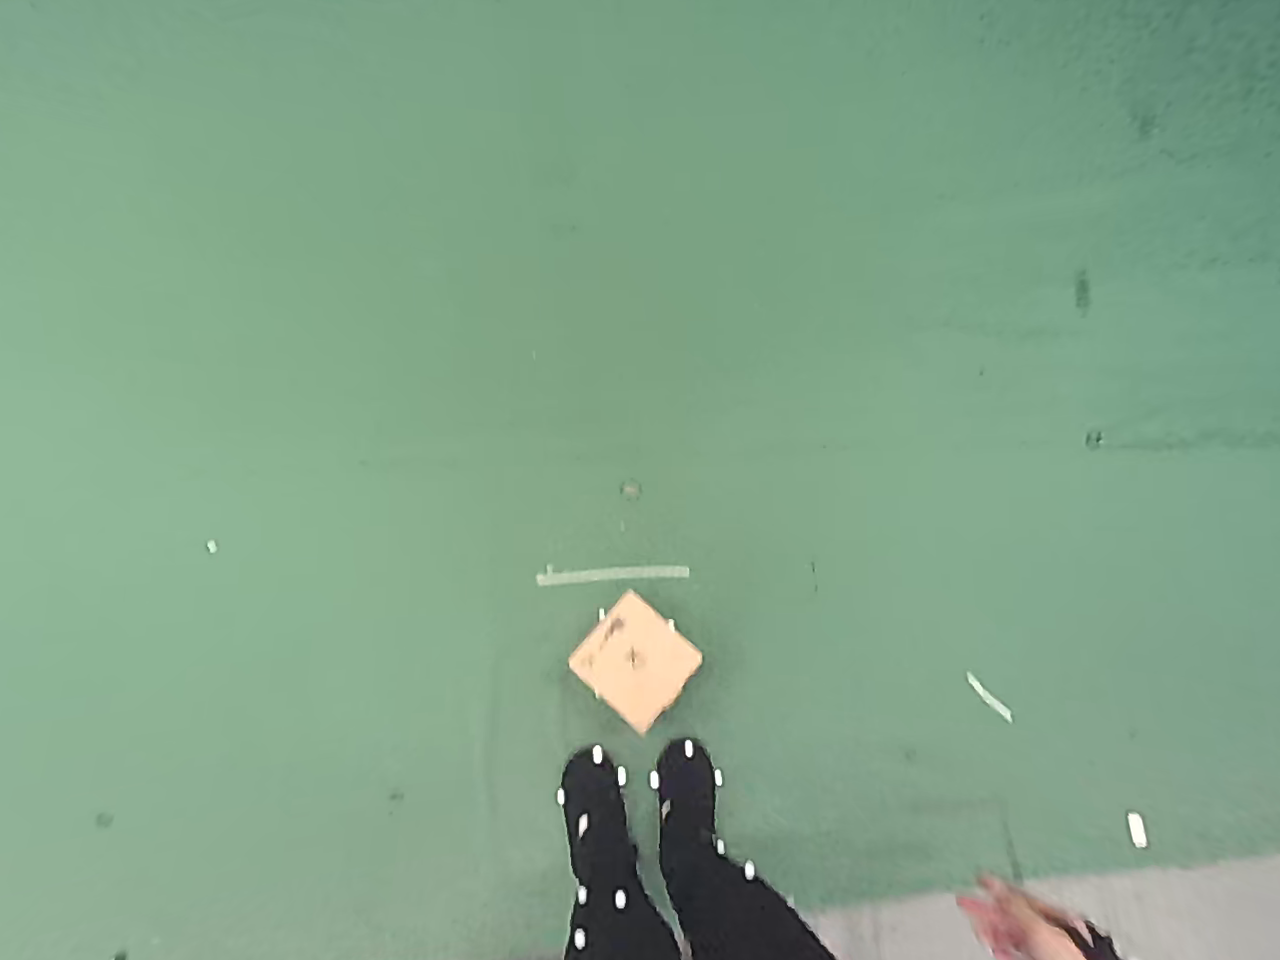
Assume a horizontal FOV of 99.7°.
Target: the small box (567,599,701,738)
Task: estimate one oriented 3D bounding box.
[{"bbox_3d":[-0.015,0.337,1.007,0.179,0.176,0.168,42,77,5],"label":"small box"}]
